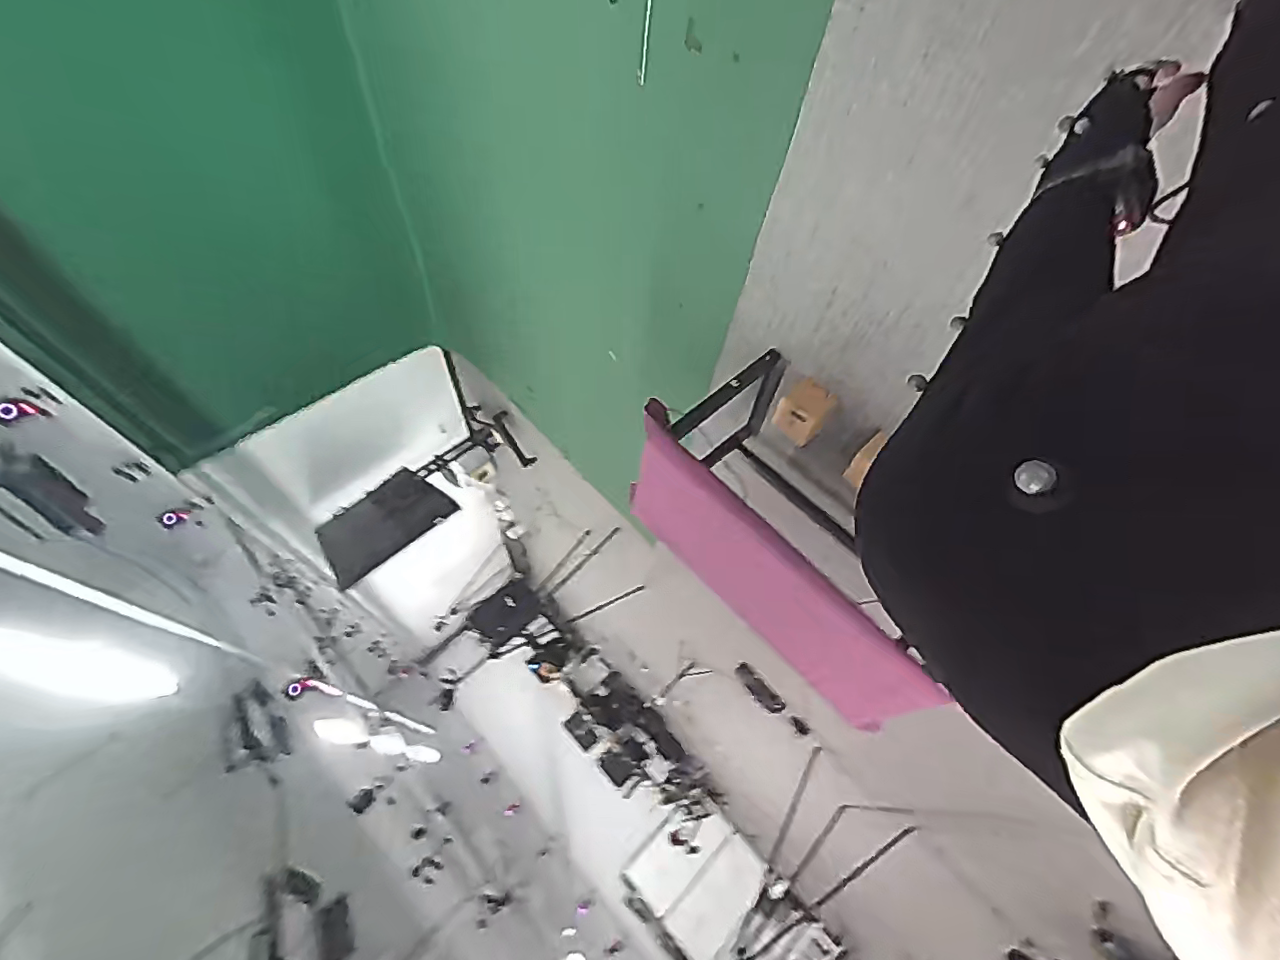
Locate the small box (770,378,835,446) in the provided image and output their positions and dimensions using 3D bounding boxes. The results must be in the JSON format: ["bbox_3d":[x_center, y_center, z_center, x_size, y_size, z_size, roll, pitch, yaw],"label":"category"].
[{"bbox_3d":[0.657,-0.279,2.177,0.168,0.176,0.179,42,155,21],"label":"small box"}]
